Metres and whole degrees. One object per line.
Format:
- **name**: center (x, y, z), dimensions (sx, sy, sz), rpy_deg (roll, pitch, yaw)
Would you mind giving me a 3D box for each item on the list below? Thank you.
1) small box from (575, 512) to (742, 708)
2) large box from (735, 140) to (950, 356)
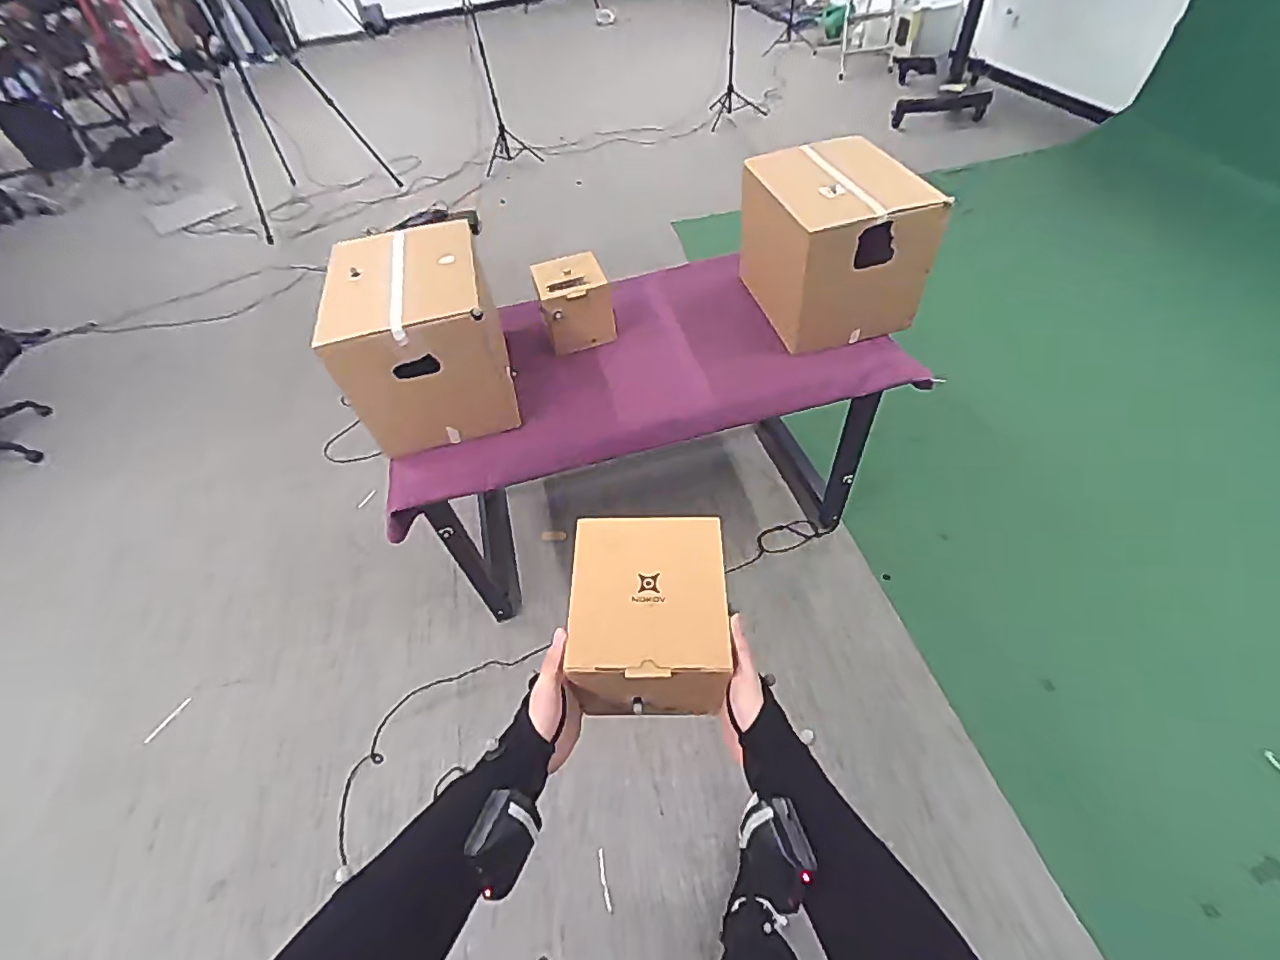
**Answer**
- **small box**: center (0.019, 0.154, 0.634), dimensions (0.168, 0.176, 0.179), rpy_deg (-1, 55, 1)
- **large box**: center (0.452, -0.572, 1.328), dimensions (0.320, 0.320, 0.408), rpy_deg (-15, 52, -4)
